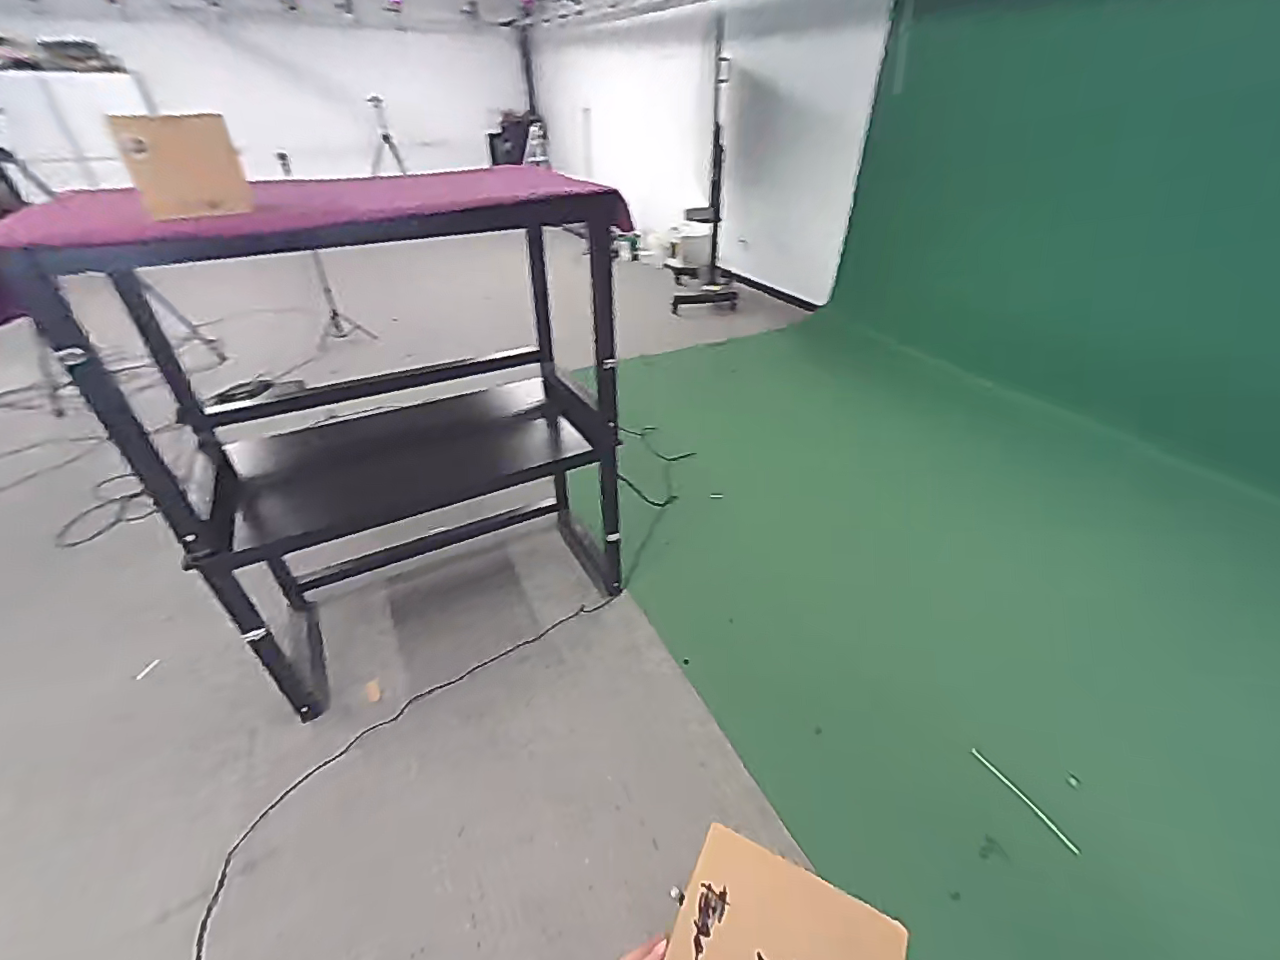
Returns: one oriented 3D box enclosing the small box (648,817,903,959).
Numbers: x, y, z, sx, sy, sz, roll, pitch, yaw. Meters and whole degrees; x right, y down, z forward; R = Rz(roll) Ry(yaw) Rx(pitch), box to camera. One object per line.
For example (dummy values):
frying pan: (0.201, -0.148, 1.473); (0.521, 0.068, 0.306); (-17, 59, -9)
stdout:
small box: (0.105, 0.441, 0.487); (0.179, 0.176, 0.168); (21, 53, 17)
